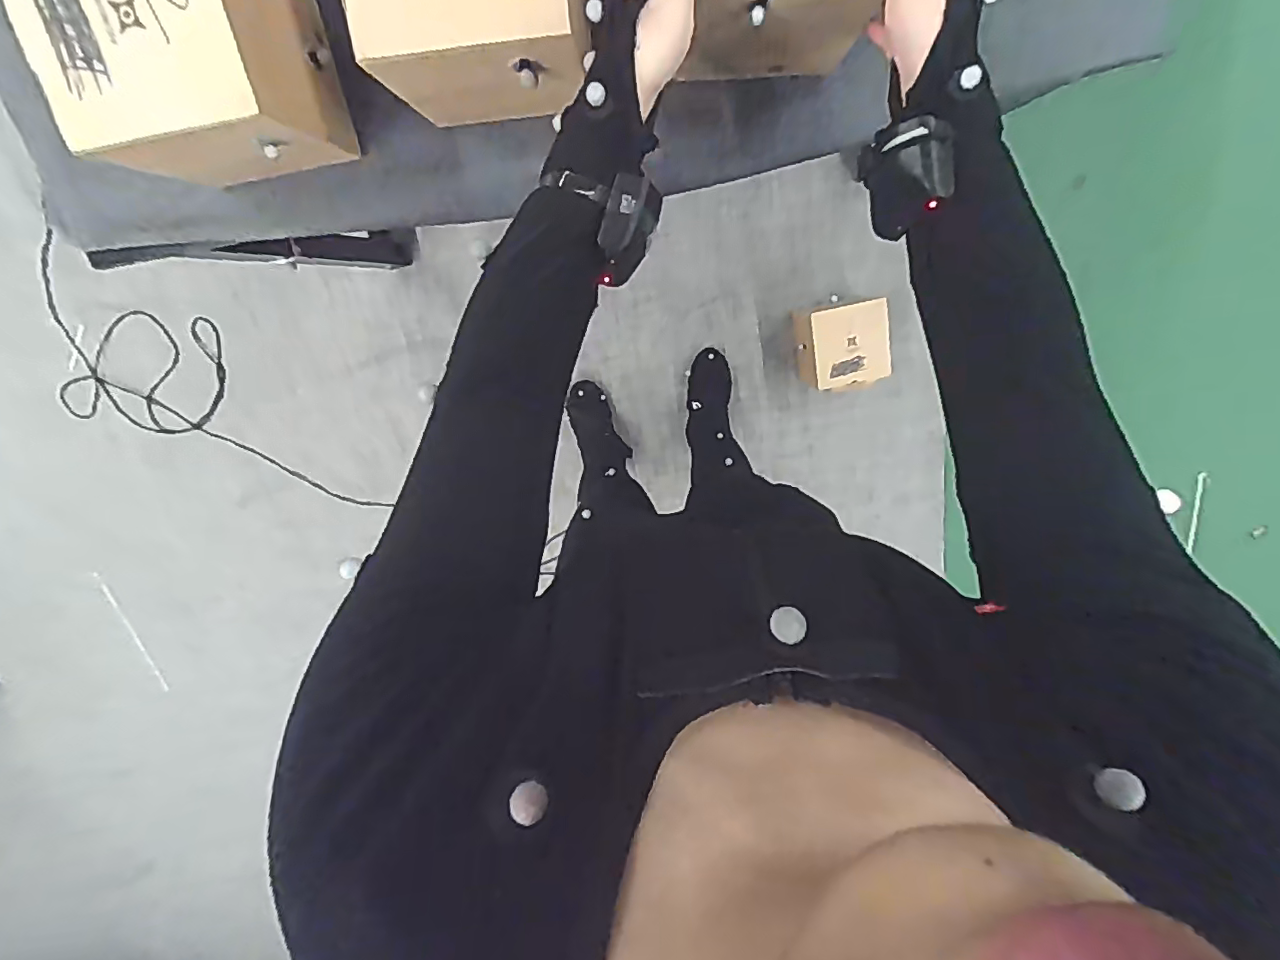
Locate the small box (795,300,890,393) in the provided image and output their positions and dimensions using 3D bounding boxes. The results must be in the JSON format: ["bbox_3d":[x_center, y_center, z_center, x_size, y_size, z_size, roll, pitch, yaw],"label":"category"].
[{"bbox_3d":[0.469,-0.315,1.262,0.168,0.176,0.179,-10,108,6],"label":"small box"}]
